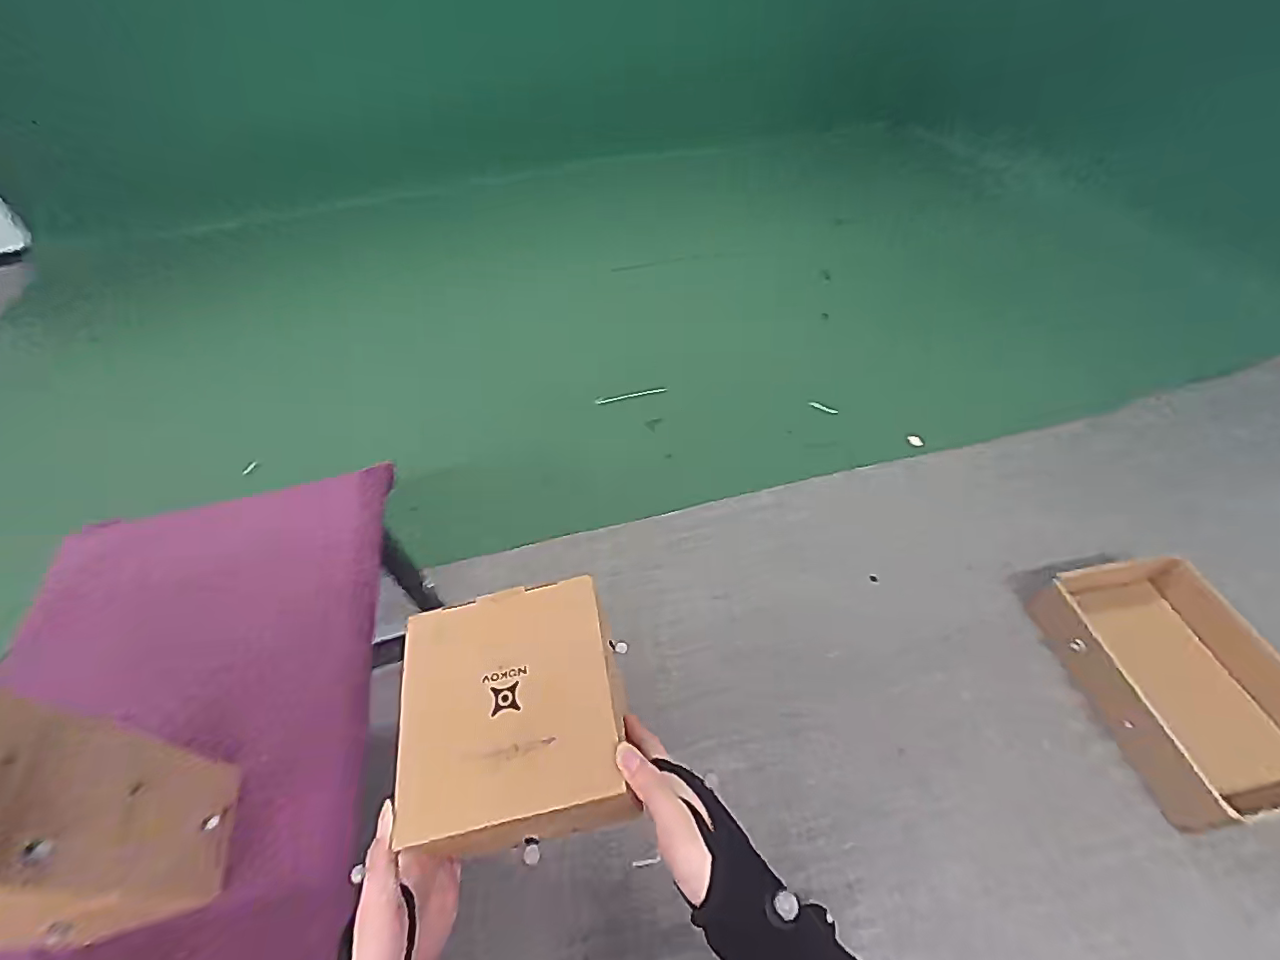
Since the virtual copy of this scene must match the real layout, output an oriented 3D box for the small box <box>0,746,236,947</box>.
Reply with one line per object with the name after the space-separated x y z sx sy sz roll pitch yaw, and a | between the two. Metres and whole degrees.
-0.676 0.473 0.695 0.179 0.176 0.168 -15 51 -8 | small box
